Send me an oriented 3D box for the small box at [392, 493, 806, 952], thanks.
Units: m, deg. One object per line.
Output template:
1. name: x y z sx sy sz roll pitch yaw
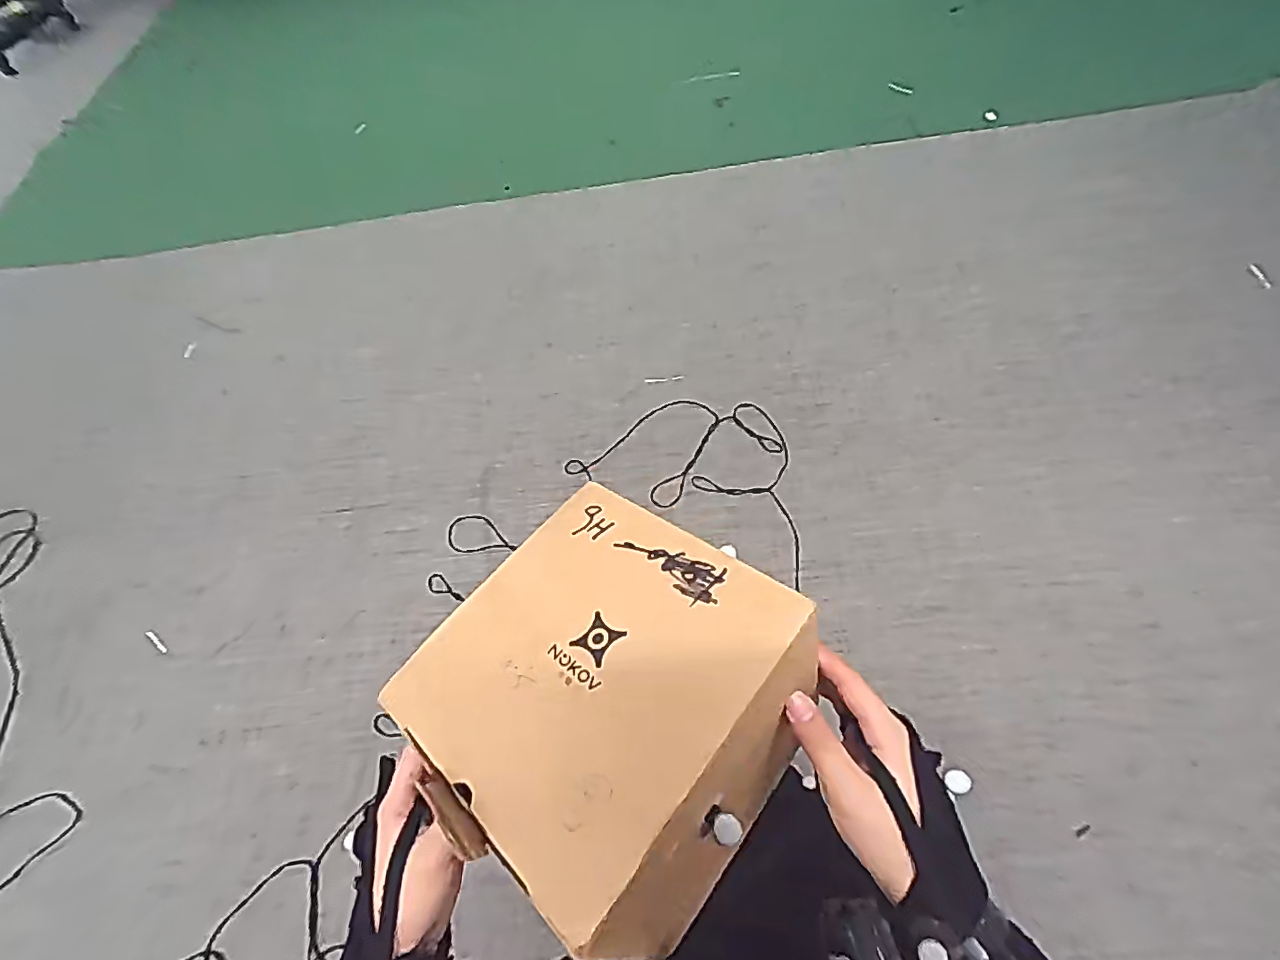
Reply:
1. small box: -0.006 0.146 0.343 0.168 0.176 0.179 27 63 34
